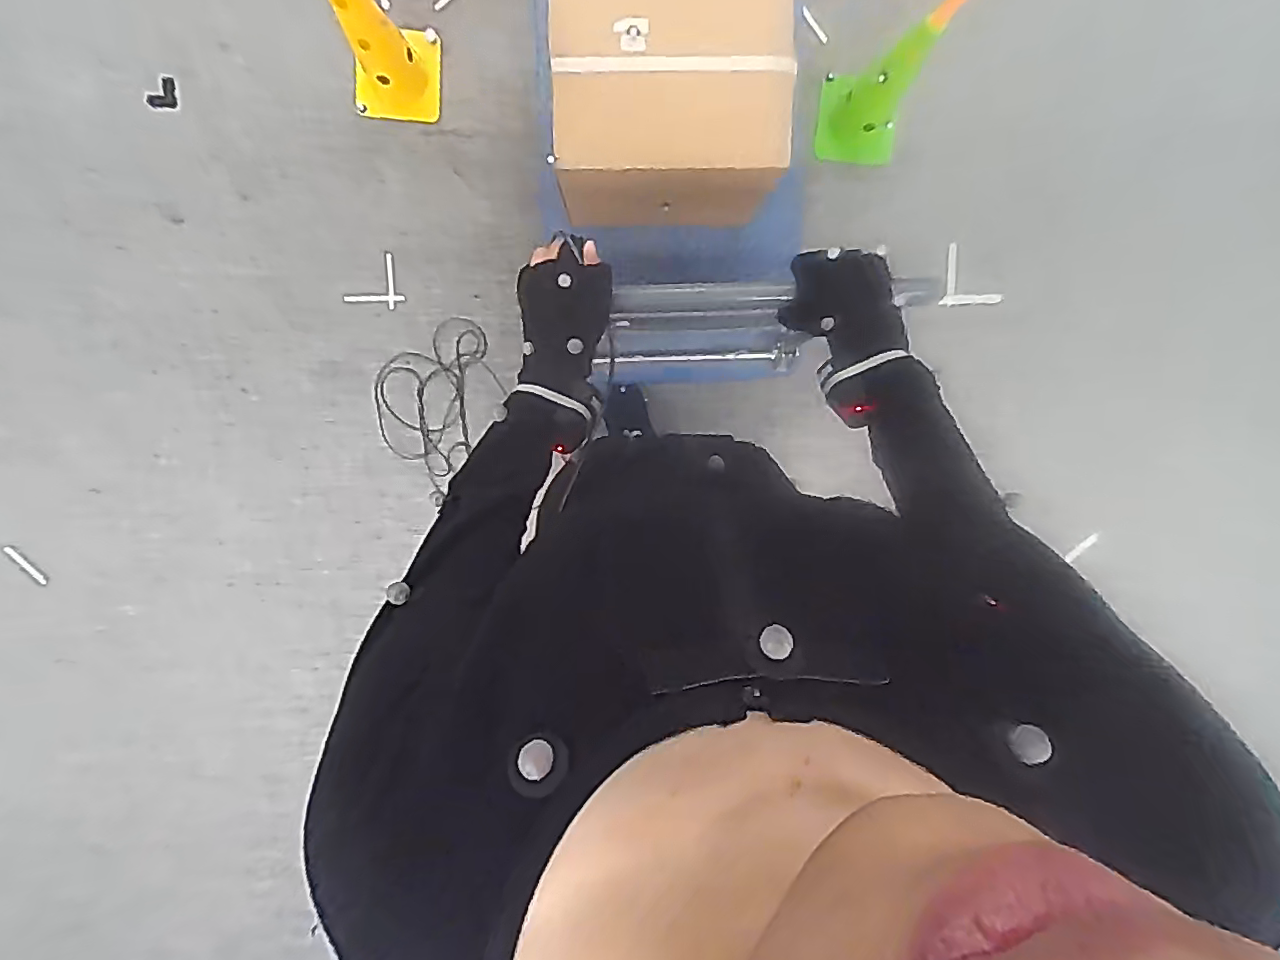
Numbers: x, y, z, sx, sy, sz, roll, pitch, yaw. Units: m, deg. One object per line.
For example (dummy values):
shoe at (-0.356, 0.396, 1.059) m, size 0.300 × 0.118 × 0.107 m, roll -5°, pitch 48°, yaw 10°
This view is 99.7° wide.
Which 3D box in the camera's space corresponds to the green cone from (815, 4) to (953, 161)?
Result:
green cone at (0.552, -0.889, 1.185) m, size 0.202 × 0.368 × 0.200 m, roll 4°, pitch 98°, yaw -4°

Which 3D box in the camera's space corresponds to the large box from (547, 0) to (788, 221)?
large box at (0.048, -0.711, 1.048) m, size 0.408 × 0.320 × 0.320 m, roll -1°, pitch 99°, yaw -1°
